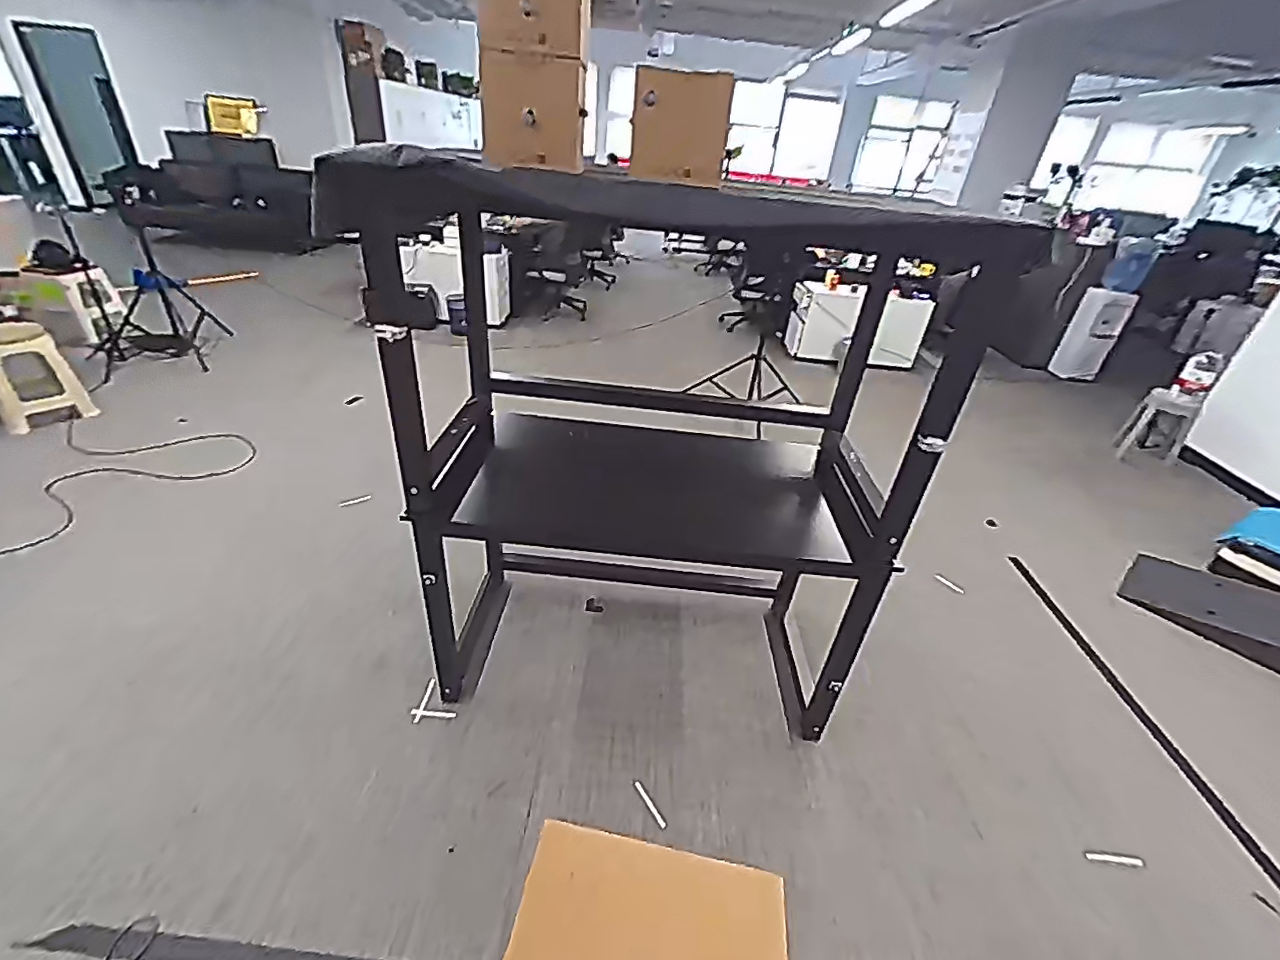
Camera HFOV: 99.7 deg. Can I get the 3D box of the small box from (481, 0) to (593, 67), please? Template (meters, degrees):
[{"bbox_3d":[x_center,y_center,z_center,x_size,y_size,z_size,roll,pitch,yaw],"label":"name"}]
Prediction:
[{"bbox_3d":[-0.166,-0.800,0.894,0.168,0.176,0.179,3,31,-3],"label":"small box"}]

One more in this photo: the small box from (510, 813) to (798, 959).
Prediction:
[{"bbox_3d":[-0.006,0.351,0.330,0.168,0.176,0.179,11,33,3],"label":"small box"}]

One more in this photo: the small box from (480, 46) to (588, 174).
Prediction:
[{"bbox_3d":[-0.183,-0.658,0.977,0.168,0.176,0.179,4,31,-4],"label":"small box"}]
